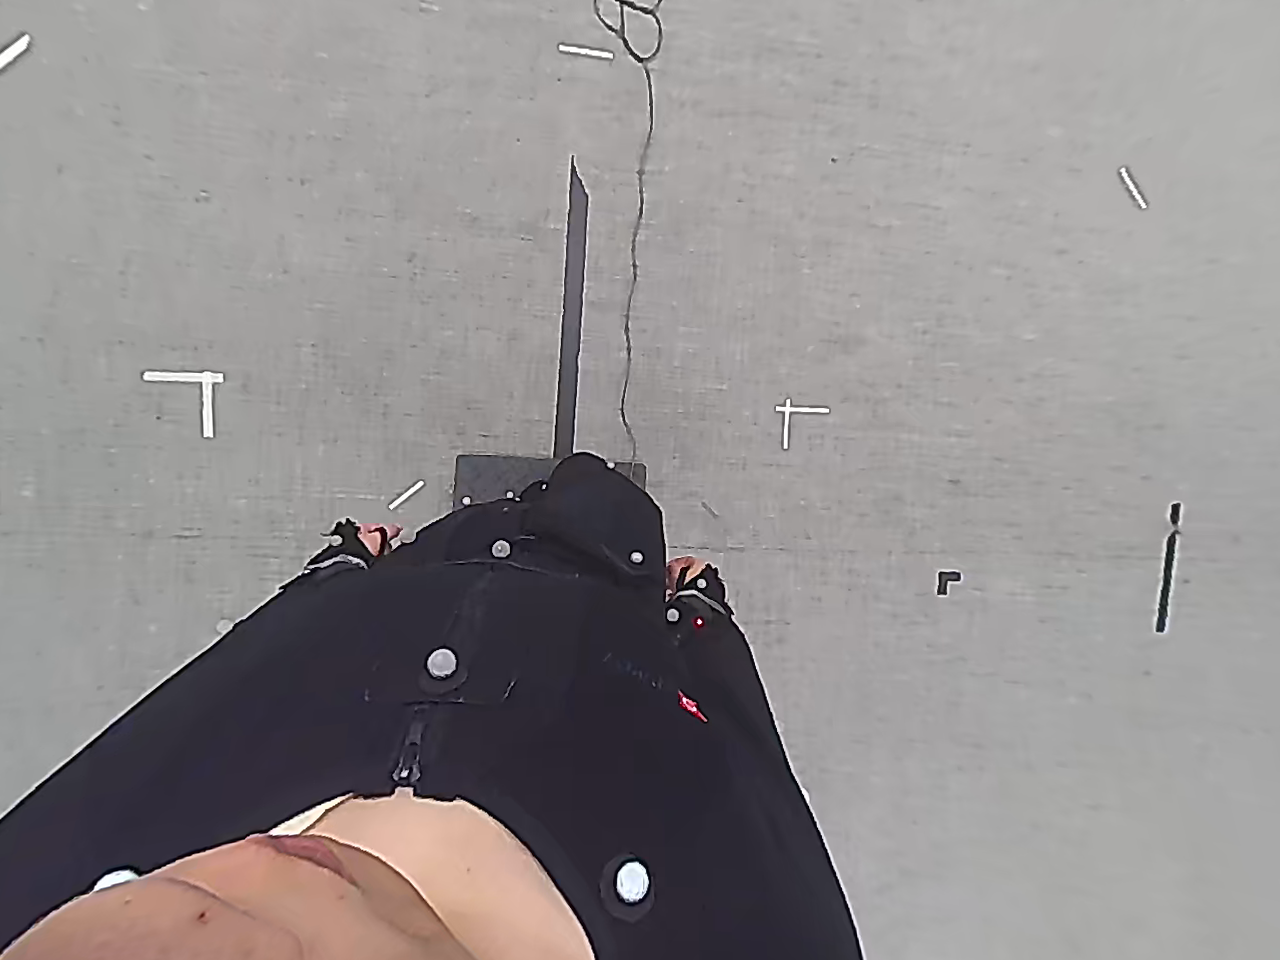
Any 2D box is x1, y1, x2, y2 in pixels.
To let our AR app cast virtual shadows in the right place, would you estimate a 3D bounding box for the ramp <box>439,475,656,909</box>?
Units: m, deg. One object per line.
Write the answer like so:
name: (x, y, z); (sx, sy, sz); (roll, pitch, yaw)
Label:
ramp: (-0.207, 0.485, 1.332); (0.509, 0.206, 0.991); (0, 90, -5)
